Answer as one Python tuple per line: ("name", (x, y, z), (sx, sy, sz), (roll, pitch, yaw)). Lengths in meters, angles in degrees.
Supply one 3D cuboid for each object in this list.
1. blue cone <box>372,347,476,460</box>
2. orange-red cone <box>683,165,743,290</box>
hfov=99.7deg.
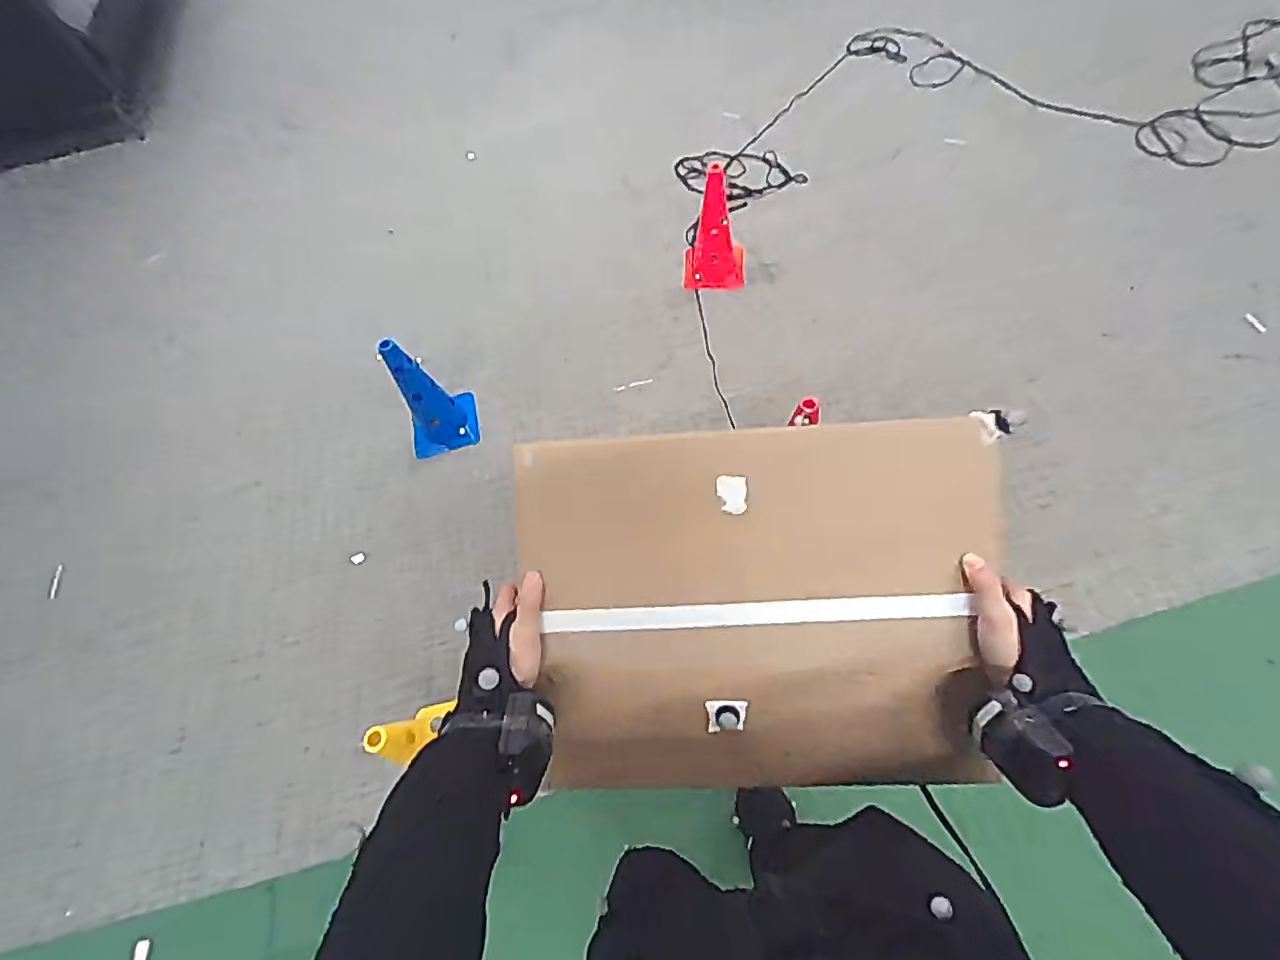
("blue cone", (-0.620, -0.236, 1.514), (0.192, 0.380, 0.193), (-16, 60, 0))
("orange-red cone", (0.229, -0.793, 1.674), (0.199, 0.360, 0.198), (2, 63, 8))
